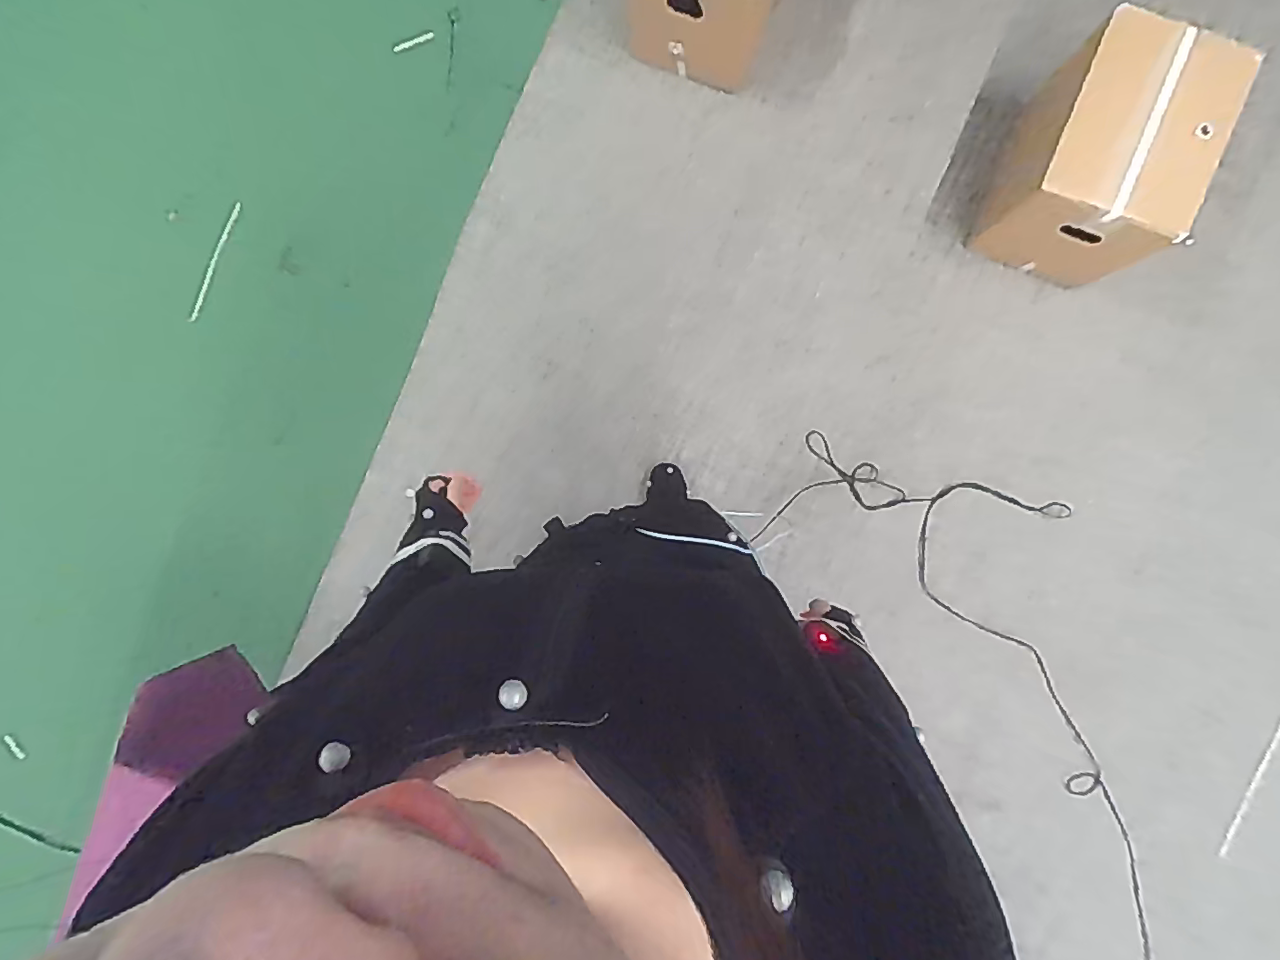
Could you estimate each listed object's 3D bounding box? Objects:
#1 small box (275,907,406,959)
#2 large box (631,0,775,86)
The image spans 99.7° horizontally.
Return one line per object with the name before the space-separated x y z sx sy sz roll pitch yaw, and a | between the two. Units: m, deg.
small box | -0.451 0.752 0.744 0.168 0.176 0.179 22 93 3
large box | 0.186 -1.280 1.298 0.320 0.320 0.408 23 92 3
